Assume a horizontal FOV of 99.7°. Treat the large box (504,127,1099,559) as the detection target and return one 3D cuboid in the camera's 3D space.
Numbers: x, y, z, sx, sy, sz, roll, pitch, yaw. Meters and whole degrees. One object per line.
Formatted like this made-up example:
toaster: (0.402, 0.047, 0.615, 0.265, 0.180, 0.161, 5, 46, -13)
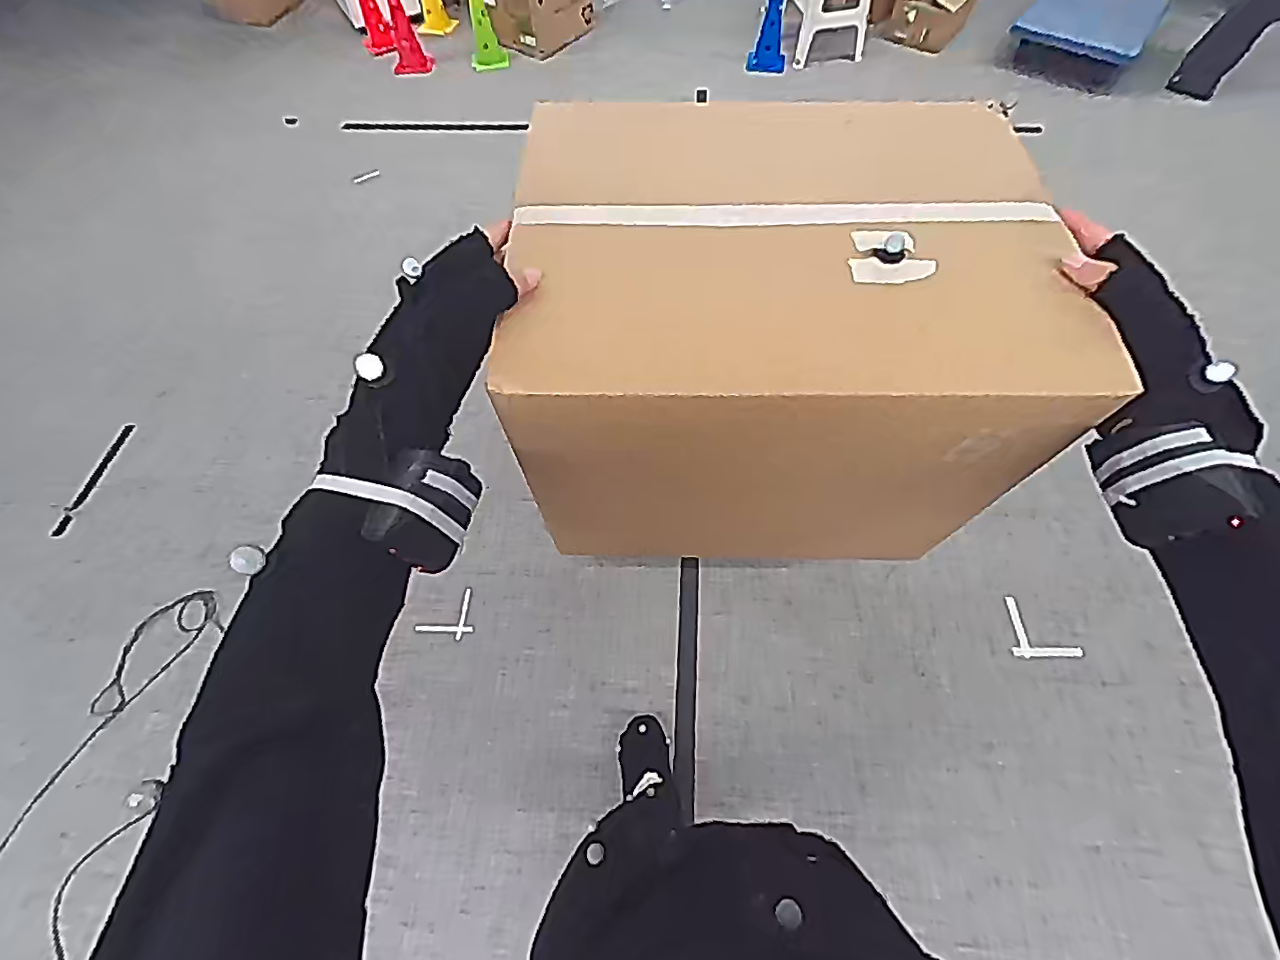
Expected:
large box: (0.104, -0.116, 0.555, 0.408, 0.320, 0.320, 0, 63, 0)
